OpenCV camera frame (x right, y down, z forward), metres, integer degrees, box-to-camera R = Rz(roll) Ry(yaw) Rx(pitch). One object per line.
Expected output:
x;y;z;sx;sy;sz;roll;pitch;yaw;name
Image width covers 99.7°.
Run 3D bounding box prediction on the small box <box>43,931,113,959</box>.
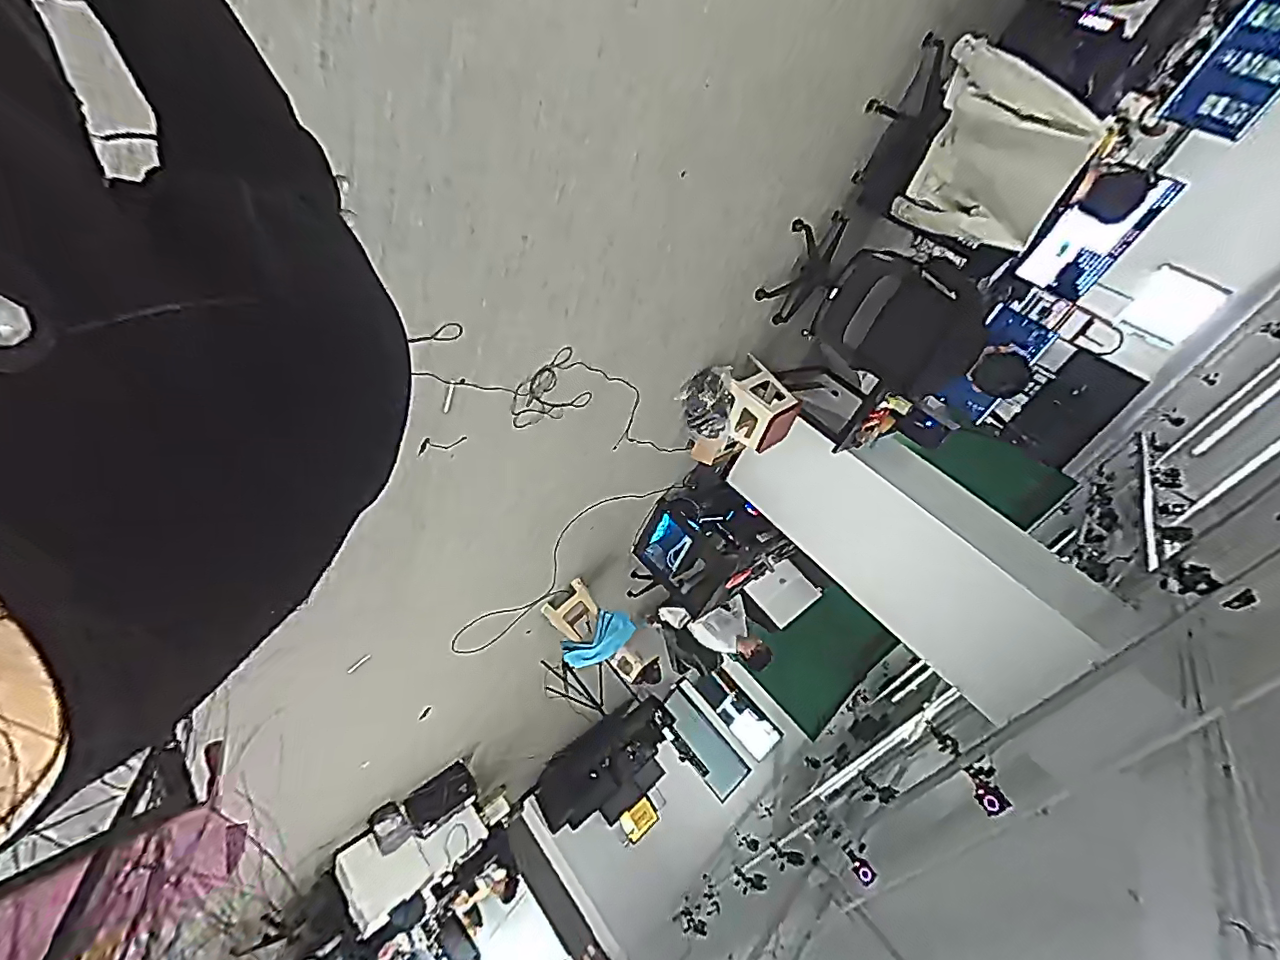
-1.373;1.240;1.292;0.168;0.176;0.179;-12;137;-52;small box
